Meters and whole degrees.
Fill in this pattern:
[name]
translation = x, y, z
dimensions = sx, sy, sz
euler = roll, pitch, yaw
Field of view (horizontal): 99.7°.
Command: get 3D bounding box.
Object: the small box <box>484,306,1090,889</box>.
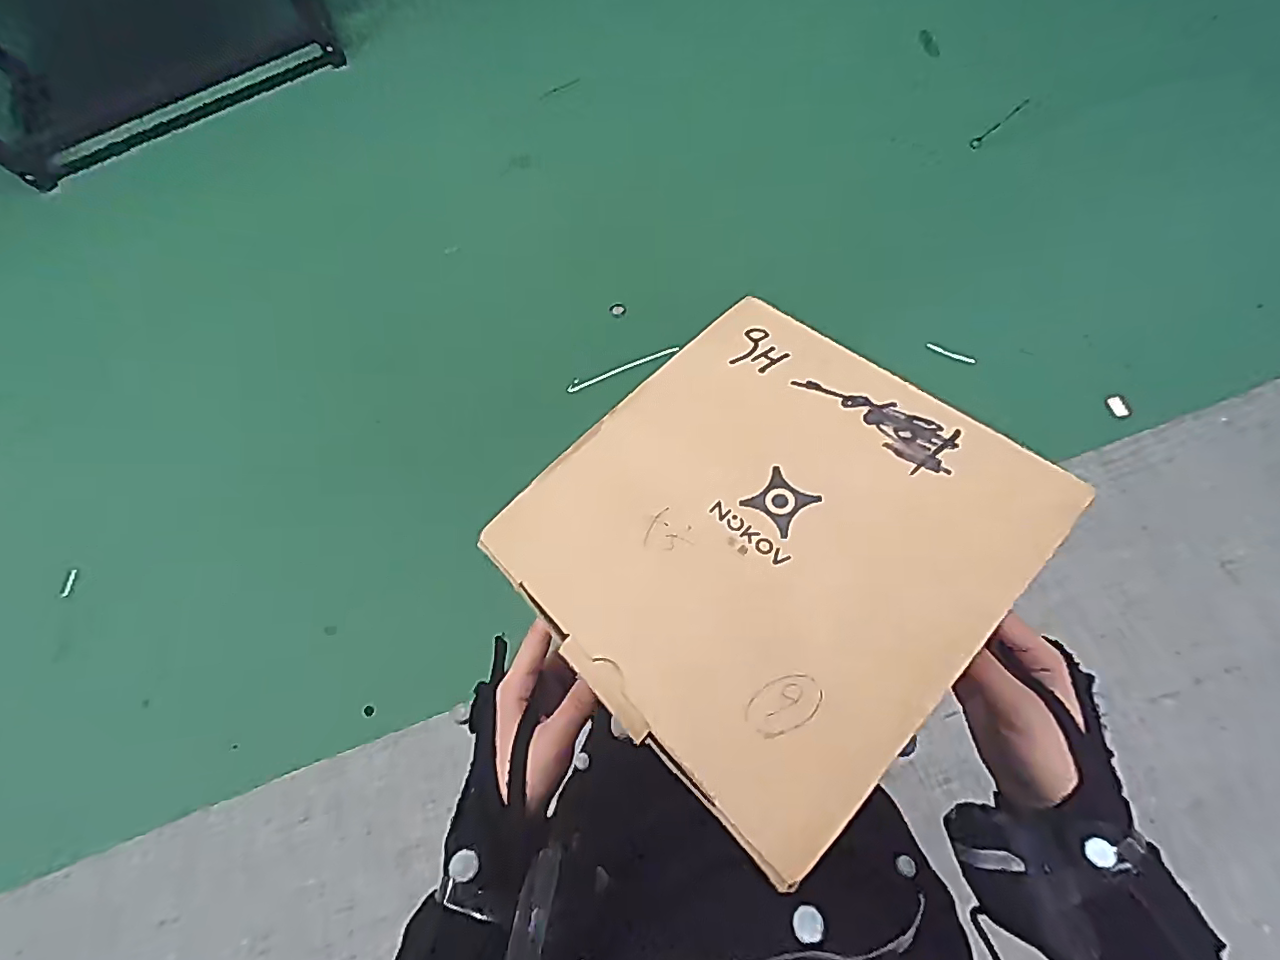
[small box]
translation = 0.062, 0.055, 0.280
dimensions = 0.179, 0.176, 0.168
euler = -43, 63, -12
